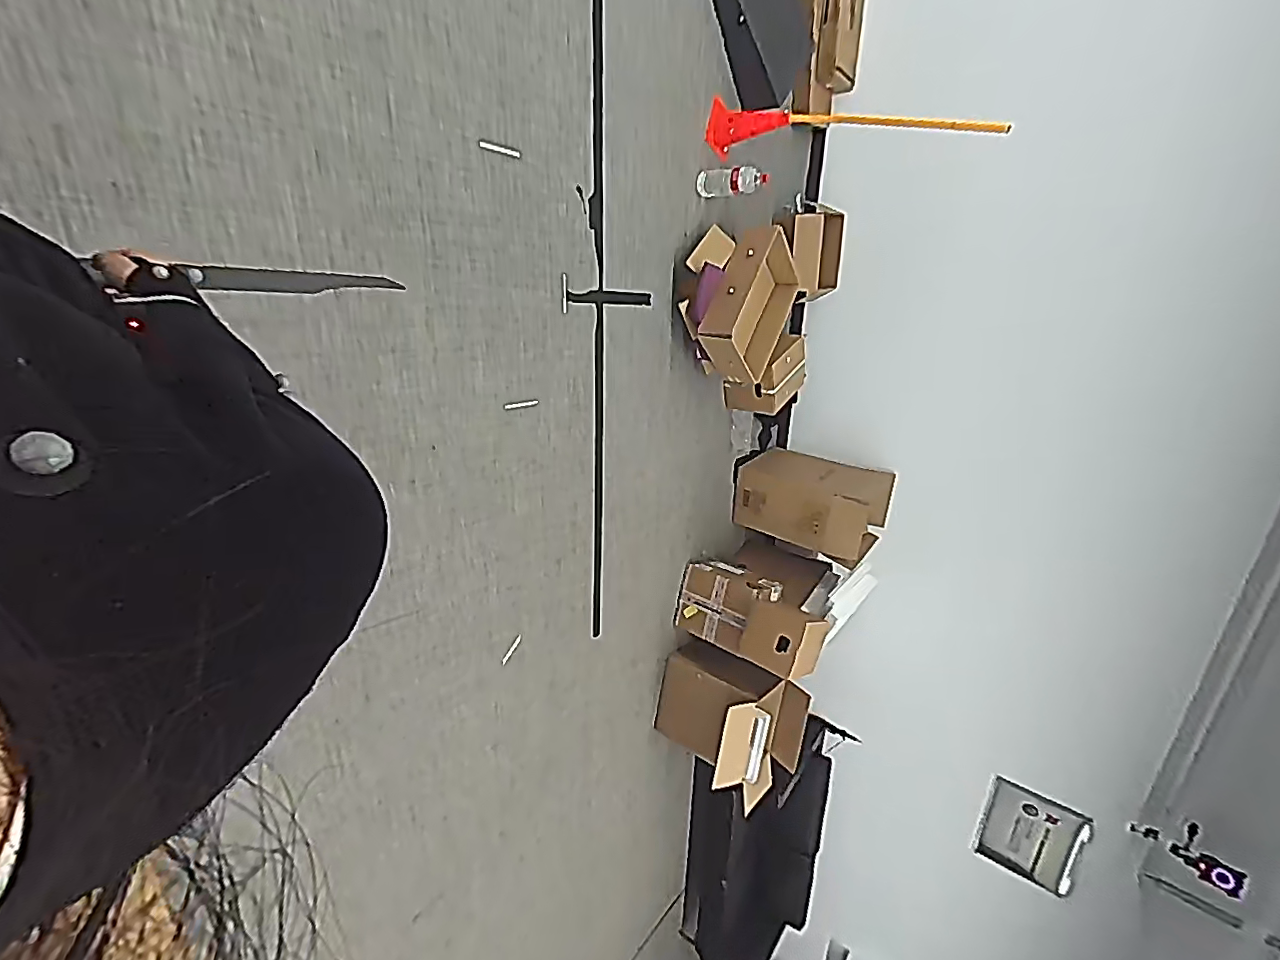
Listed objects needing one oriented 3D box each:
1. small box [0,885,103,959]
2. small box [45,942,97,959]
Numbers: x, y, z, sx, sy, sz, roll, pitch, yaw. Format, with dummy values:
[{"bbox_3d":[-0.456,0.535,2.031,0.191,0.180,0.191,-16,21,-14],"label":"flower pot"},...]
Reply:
[{"bbox_3d":[-1.280,1.011,1.140,0.168,0.176,0.179,-24,123,-47],"label":"small box"},{"bbox_3d":[-1.153,1.061,1.048,0.168,0.176,0.179,-20,119,-49],"label":"small box"}]
